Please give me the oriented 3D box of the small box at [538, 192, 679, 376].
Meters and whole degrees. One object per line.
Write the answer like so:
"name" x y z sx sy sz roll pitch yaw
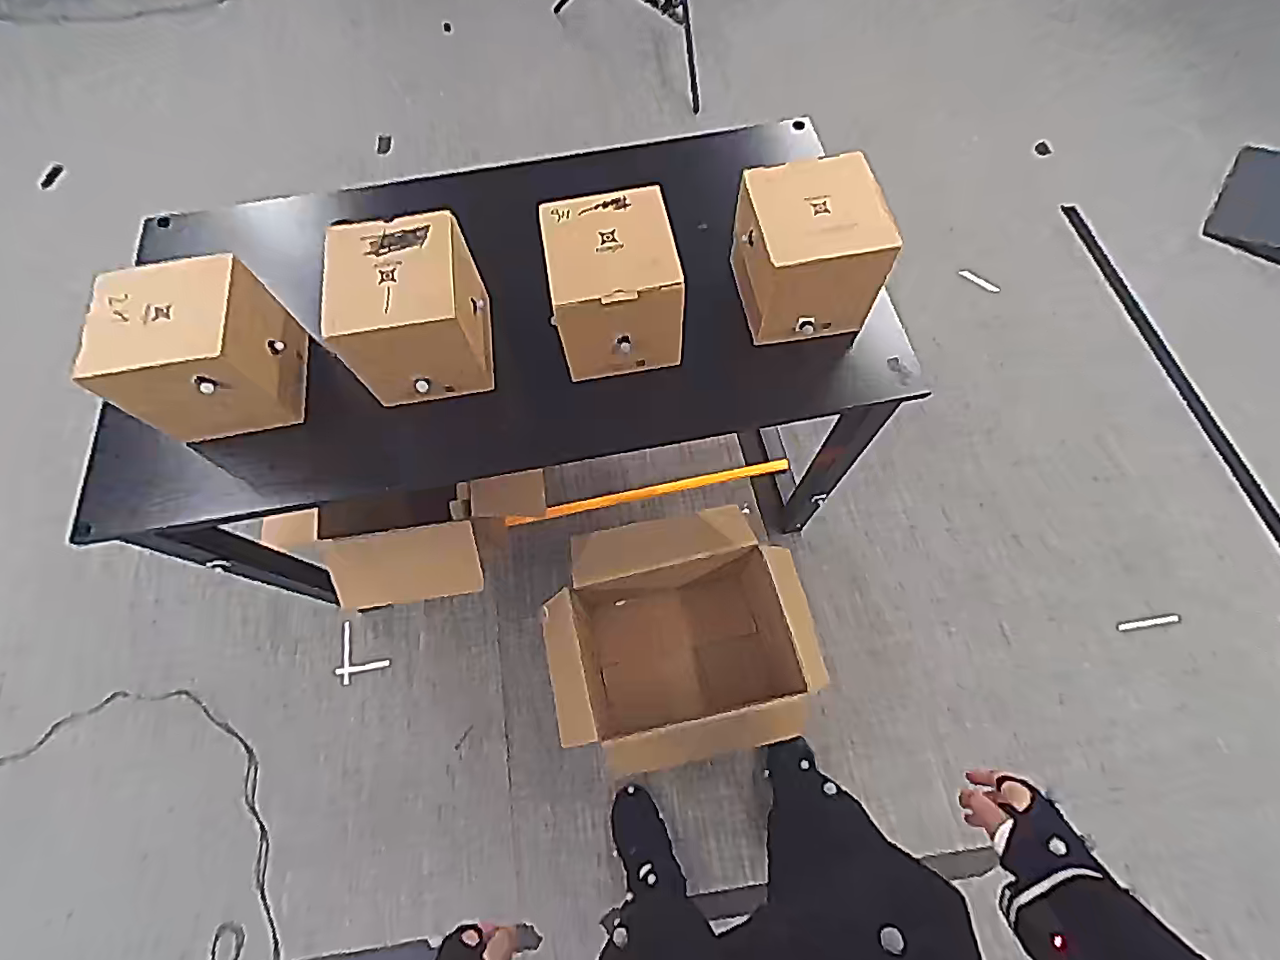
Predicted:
"small box" -0.039 -0.264 0.764 0.168 0.176 0.179 -10 68 -2

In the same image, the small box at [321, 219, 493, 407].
"small box" -0.313 -0.227 0.758 0.168 0.176 0.179 -9 68 -1

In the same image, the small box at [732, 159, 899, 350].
"small box" 0.234 -0.316 0.775 0.168 0.176 0.179 -10 68 0

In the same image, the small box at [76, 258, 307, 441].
"small box" -0.592 -0.171 0.744 0.179 0.176 0.168 -10 67 -3
